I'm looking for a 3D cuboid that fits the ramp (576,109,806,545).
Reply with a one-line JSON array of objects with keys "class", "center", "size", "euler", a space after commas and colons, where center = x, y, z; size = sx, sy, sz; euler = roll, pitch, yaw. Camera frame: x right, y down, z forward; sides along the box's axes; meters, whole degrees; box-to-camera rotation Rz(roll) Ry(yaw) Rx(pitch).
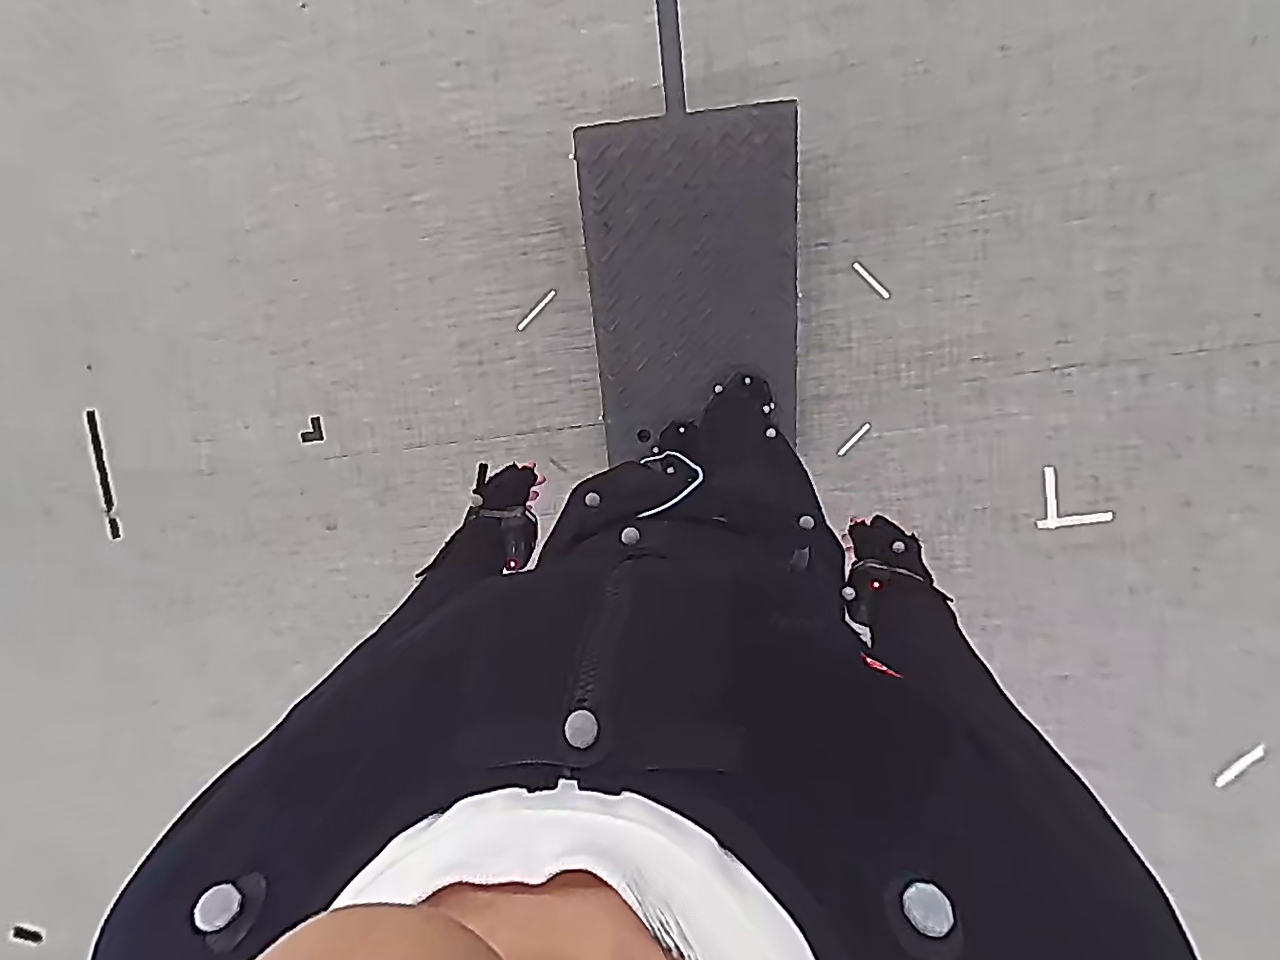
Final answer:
[{"class": "ramp", "center": [0.152, -0.310, 1.342], "size": [0.509, 0.206, 0.991], "euler": [-6, 97, 7]}]
